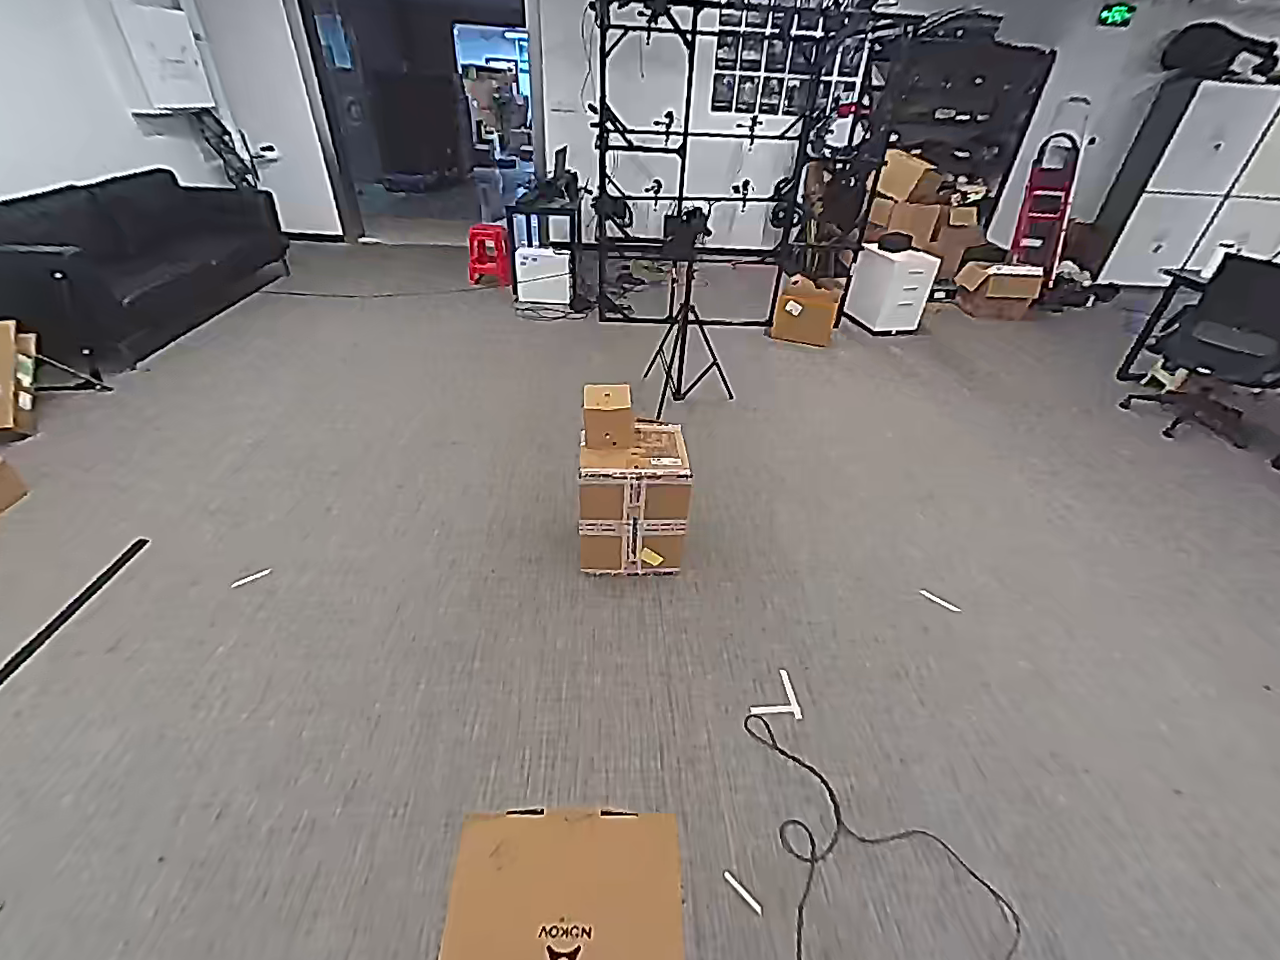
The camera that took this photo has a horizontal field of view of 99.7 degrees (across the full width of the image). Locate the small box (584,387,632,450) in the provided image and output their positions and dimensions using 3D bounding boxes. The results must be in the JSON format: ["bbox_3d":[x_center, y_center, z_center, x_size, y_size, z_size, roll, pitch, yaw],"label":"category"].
[{"bbox_3d":[-0.117,-0.227,1.977,0.168,0.176,0.179,-2,39,-3],"label":"small box"}]
